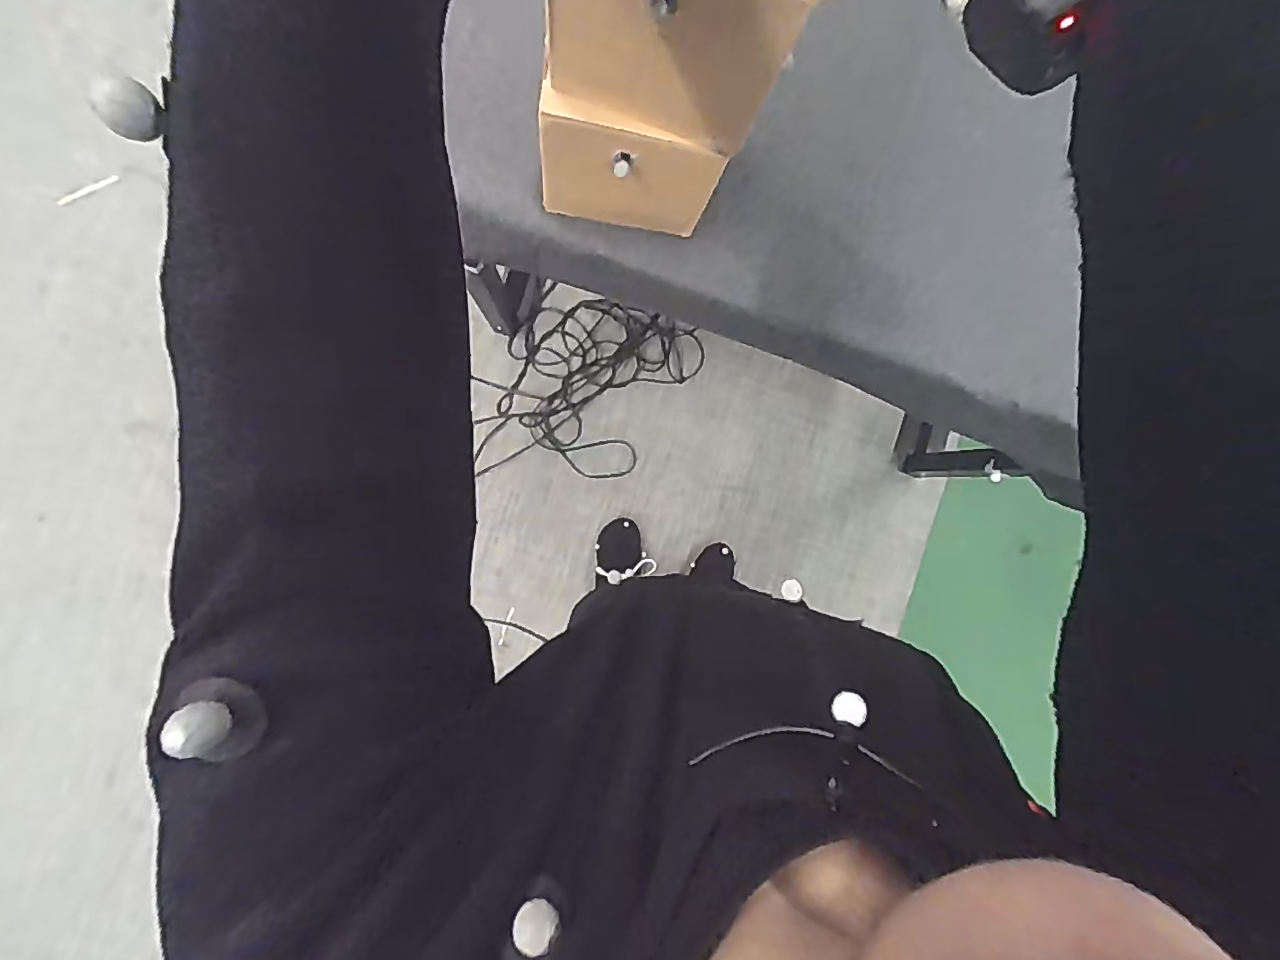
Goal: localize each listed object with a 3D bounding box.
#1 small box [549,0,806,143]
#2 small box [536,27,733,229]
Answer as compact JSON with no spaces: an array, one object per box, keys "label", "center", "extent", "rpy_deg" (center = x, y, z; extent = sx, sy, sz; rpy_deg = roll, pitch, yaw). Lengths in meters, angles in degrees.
[{"label":"small box","center":[0.035,-0.391,0.394],"extent":[0.179,0.176,0.168],"rpy_deg":[17,89,-8]},{"label":"small box","center":[-0.003,-0.382,0.552],"extent":[0.179,0.176,0.168],"rpy_deg":[8,89,-7]}]
